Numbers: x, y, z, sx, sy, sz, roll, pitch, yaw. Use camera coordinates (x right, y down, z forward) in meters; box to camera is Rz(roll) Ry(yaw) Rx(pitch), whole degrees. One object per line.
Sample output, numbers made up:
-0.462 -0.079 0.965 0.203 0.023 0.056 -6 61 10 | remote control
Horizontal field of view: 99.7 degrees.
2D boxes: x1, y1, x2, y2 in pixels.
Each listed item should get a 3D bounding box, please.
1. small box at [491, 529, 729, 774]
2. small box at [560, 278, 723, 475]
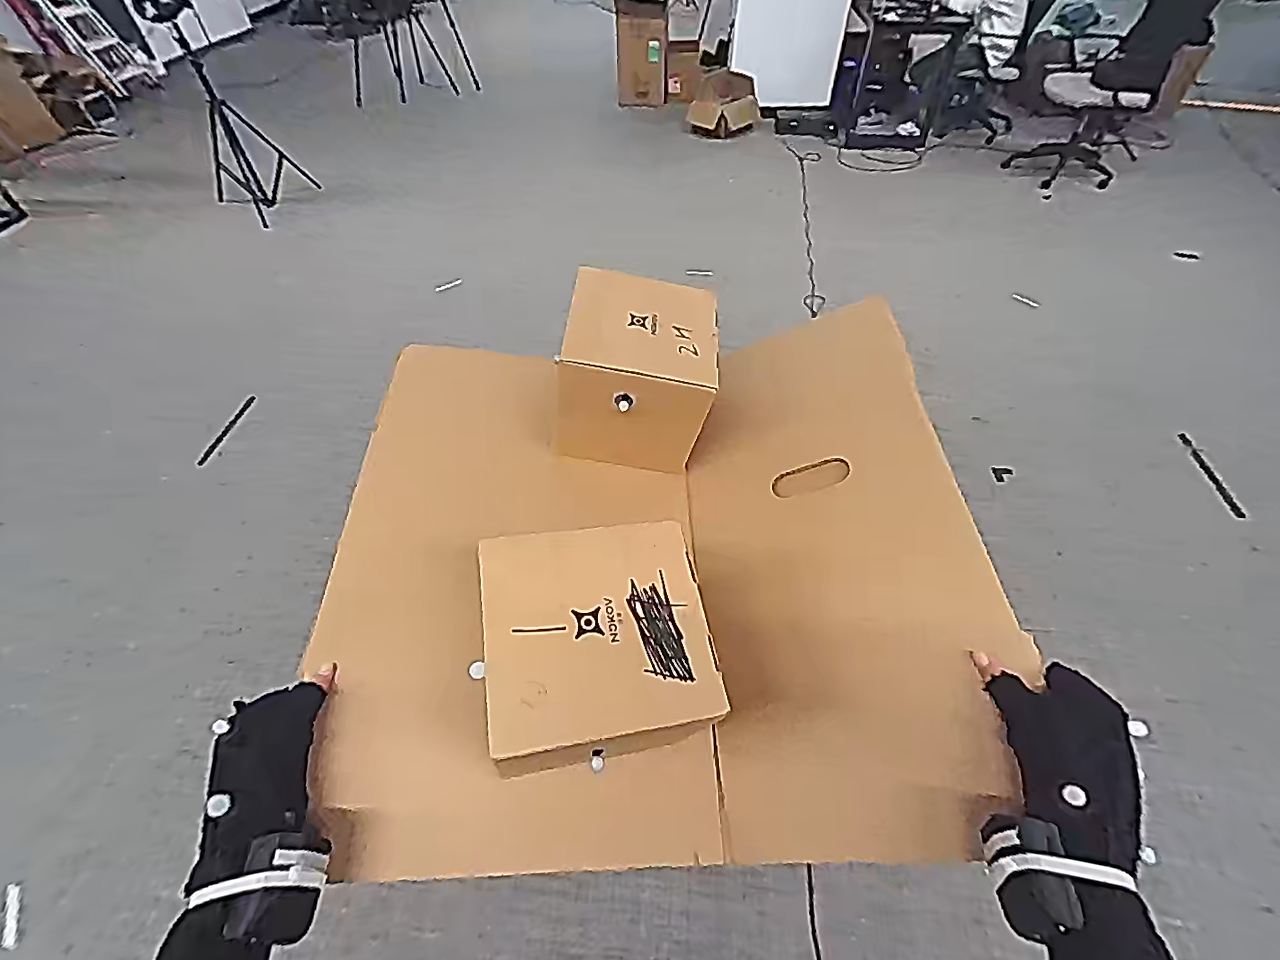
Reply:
-0.043 0.160 0.497 0.179 0.176 0.168 -4 58 -14 | small box
-0.002 -0.125 0.694 0.179 0.176 0.168 11 56 -6 | small box
